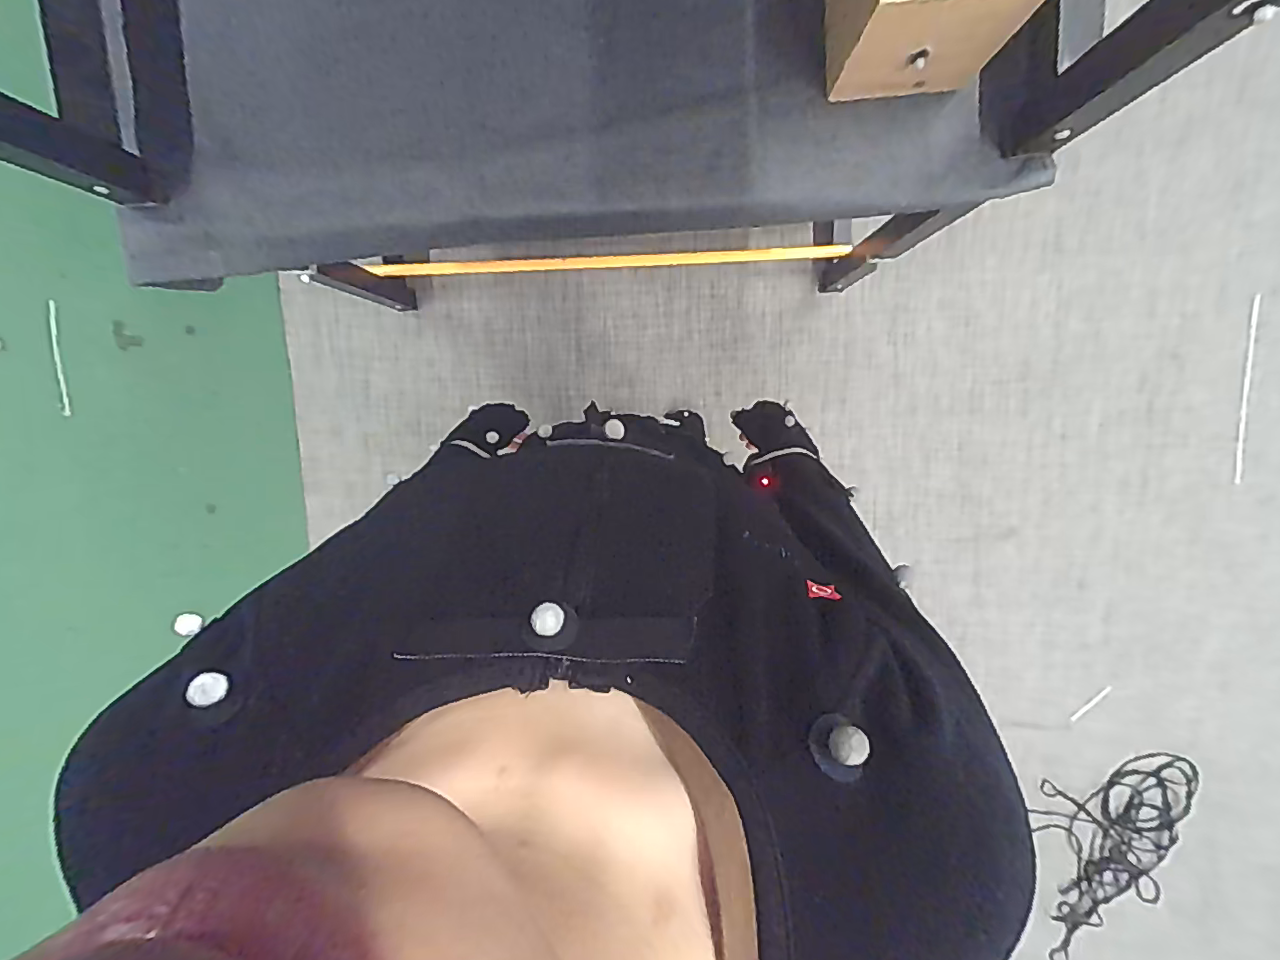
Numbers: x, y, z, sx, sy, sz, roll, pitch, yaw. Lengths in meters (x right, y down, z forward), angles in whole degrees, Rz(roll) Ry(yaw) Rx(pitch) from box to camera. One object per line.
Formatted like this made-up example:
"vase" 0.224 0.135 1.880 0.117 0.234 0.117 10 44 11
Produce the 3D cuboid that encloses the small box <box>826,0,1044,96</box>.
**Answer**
"small box" 0.307 -0.546 0.581 0.168 0.176 0.179 -3 97 2
